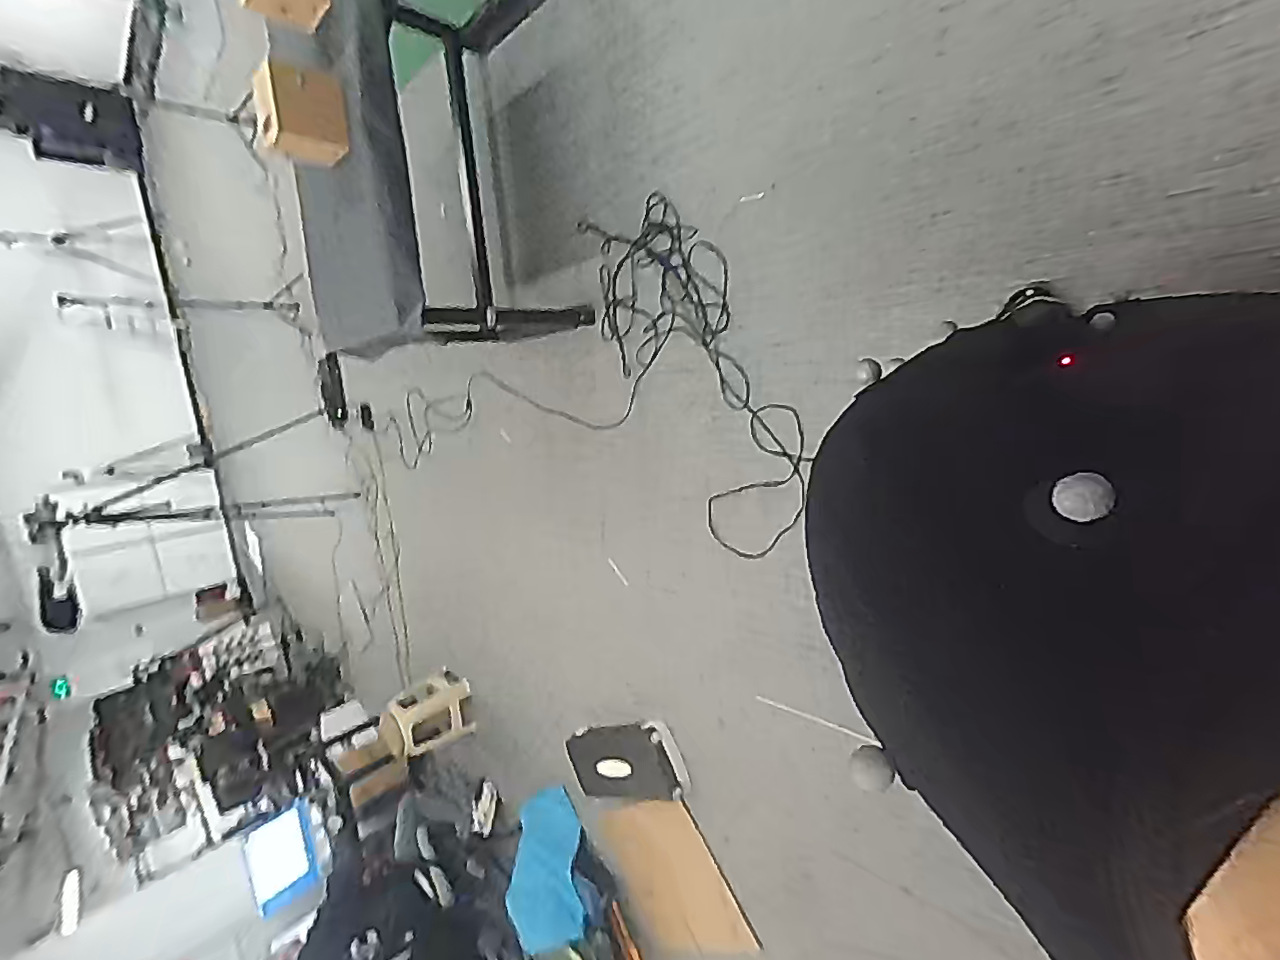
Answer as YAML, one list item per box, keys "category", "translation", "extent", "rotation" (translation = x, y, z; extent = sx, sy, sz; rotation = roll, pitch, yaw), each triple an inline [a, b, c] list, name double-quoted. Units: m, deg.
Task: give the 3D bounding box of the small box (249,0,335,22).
- category: "small box"
  translation: [-0.882, -1.296, 1.353]
  extent: [0.168, 0.176, 0.179]
  rotation: [9, 107, 44]
